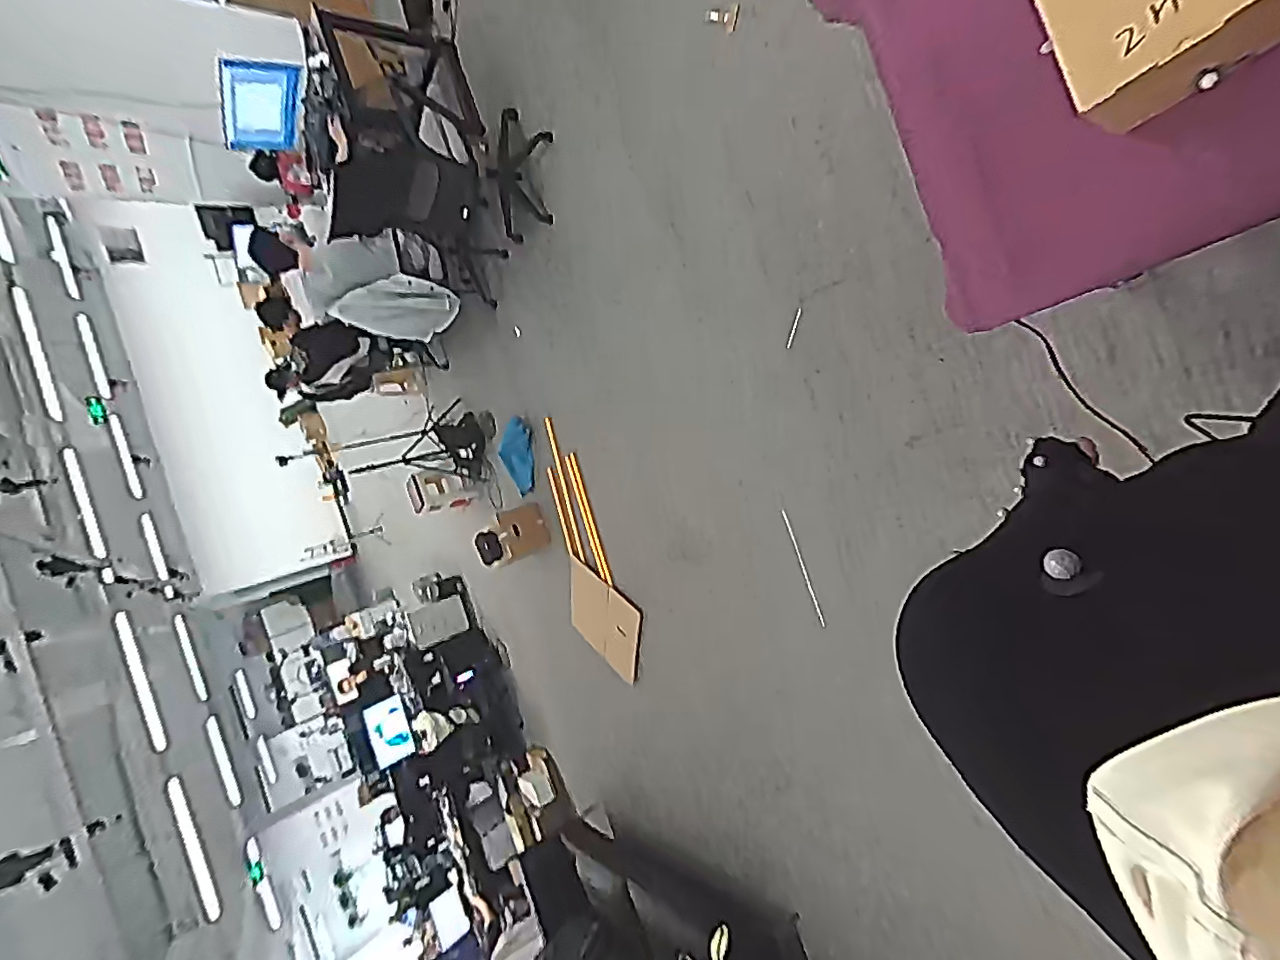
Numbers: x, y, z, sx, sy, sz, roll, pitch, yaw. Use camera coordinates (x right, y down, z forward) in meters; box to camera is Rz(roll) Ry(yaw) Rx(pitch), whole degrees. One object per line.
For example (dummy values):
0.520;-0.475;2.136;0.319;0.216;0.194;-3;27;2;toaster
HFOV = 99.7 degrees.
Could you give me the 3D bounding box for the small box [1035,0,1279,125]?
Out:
0.529;-0.497;0.542;0.168;0.176;0.179;-22;86;55;small box
